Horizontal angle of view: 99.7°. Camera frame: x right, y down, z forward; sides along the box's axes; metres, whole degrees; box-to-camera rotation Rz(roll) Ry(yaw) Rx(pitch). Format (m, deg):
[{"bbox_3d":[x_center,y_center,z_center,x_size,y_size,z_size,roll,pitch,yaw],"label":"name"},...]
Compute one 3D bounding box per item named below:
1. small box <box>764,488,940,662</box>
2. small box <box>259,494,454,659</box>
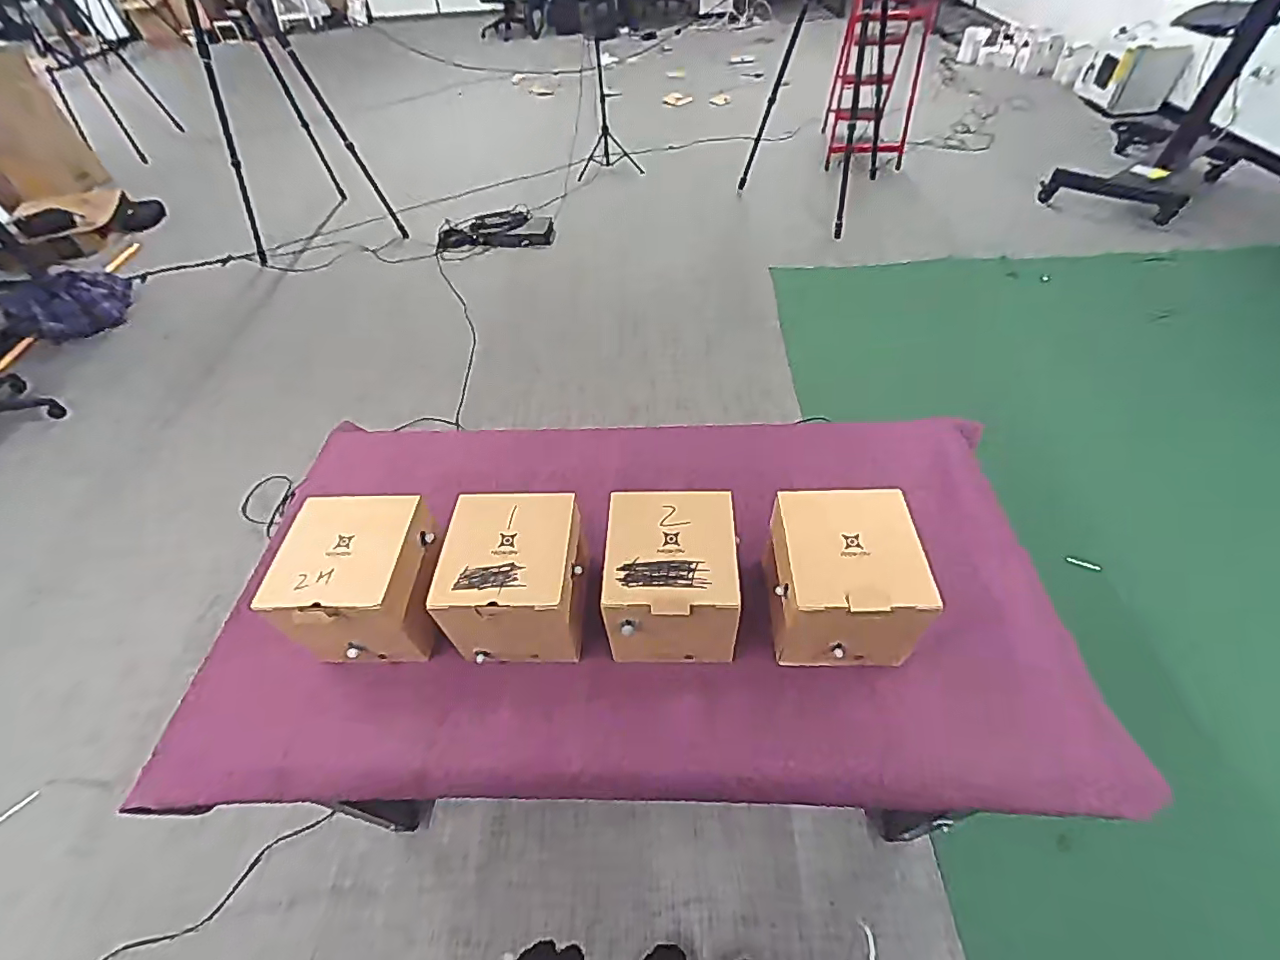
[{"bbox_3d":[0.268,0.129,0.734,0.168,0.176,0.179,-1,51,4],"label":"small box"},{"bbox_3d":[-0.383,0.138,0.774,0.168,0.176,0.179,-1,50,4],"label":"small box"}]
